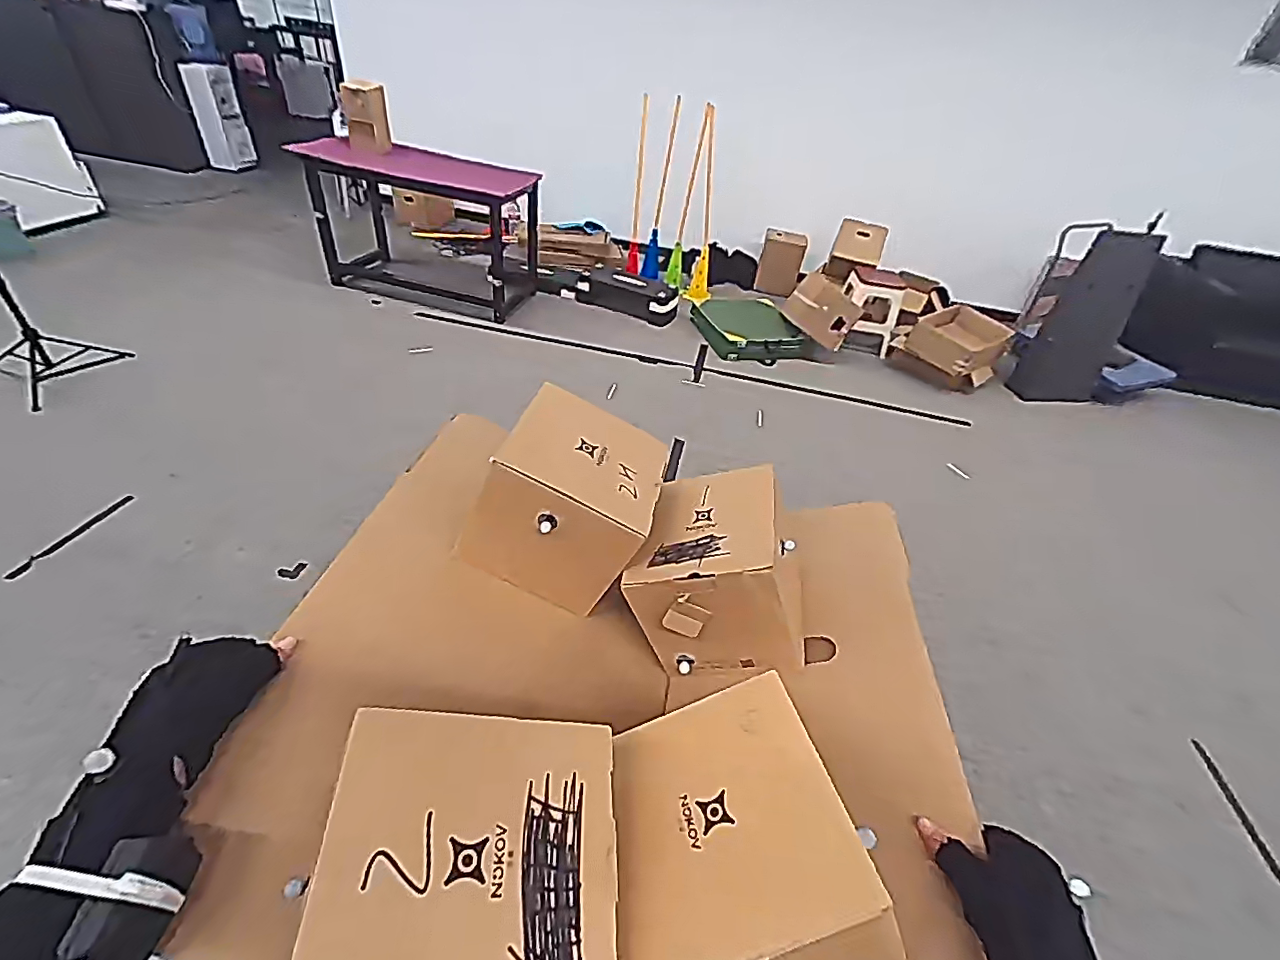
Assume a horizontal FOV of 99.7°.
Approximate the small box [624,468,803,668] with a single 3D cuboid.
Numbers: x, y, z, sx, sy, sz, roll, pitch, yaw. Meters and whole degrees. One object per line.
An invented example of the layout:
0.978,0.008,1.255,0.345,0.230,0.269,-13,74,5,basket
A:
0.101,0.113,0.662,0.168,0.176,0.179,-10,34,21,small box
